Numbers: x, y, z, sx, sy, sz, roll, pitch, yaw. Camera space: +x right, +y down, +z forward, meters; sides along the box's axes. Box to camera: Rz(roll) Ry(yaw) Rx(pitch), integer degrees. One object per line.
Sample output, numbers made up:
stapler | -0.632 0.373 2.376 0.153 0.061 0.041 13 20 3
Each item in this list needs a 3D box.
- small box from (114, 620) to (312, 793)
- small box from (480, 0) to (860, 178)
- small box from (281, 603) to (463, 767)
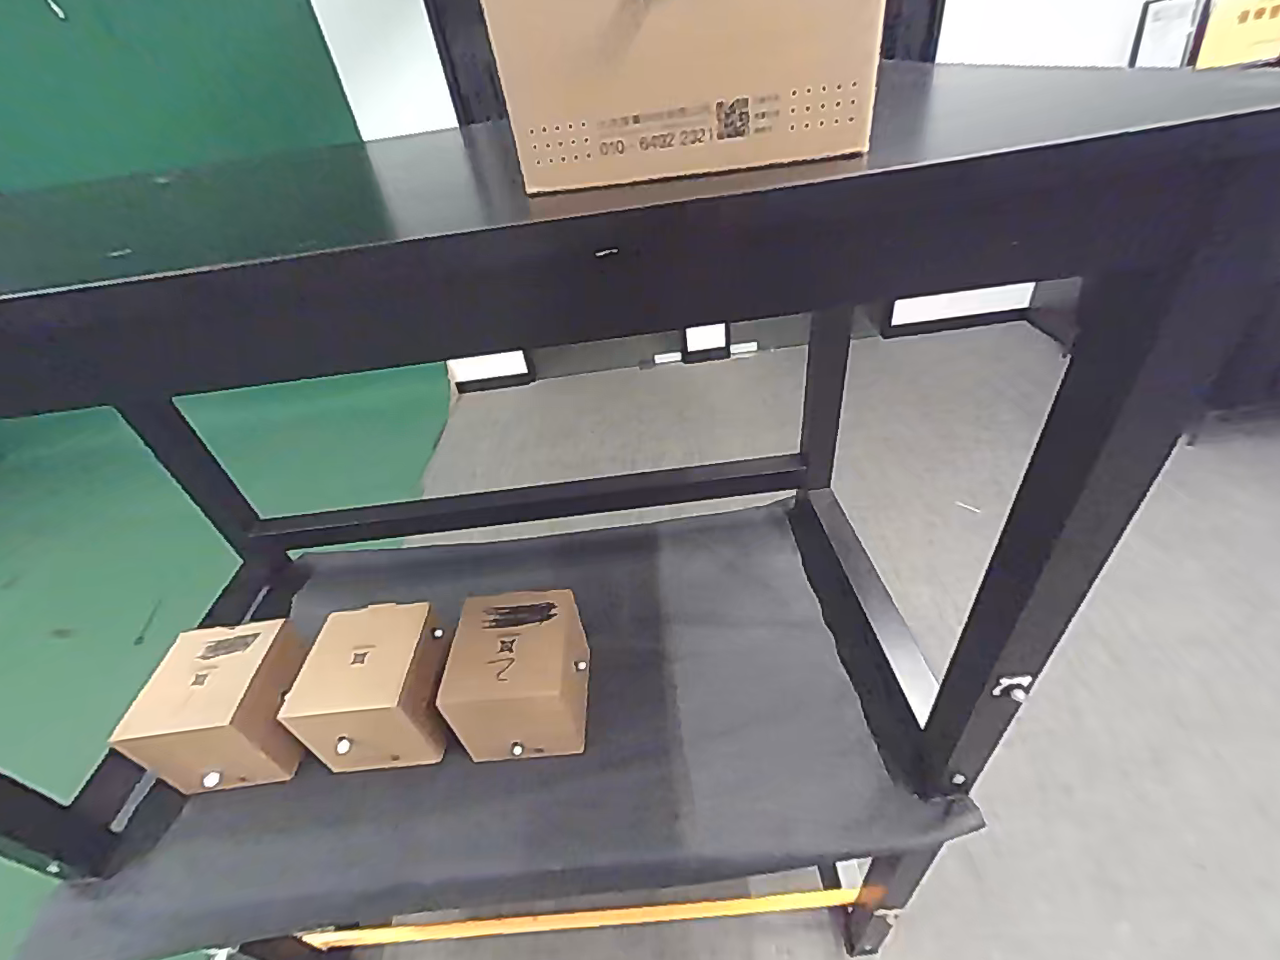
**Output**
small box | -0.611 0.343 0.824 0.168 0.176 0.179 -8 38 1
small box | 0.018 -0.267 0.280 0.168 0.176 0.179 -1 38 10
small box | -0.386 0.314 0.820 0.168 0.176 0.179 -6 37 2
